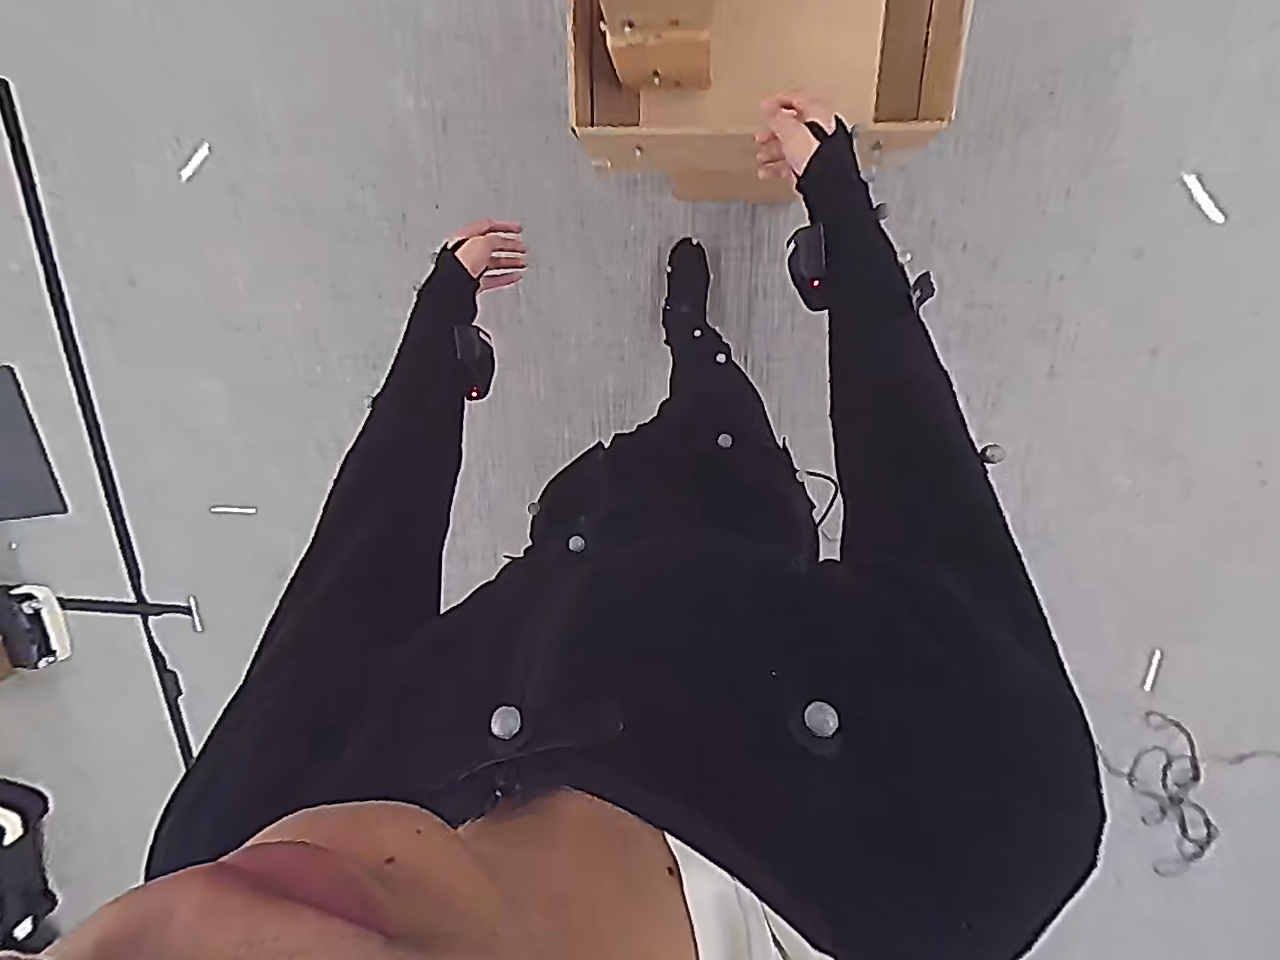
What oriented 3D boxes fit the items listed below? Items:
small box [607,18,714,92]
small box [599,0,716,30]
[{"bbox_3d":[0.038,-0.776,0.889,0.168,0.176,0.179,1,106,6],"label":"small box"},{"bbox_3d":[0.023,-0.745,0.728,0.168,0.176,0.179,1,105,6],"label":"small box"}]
